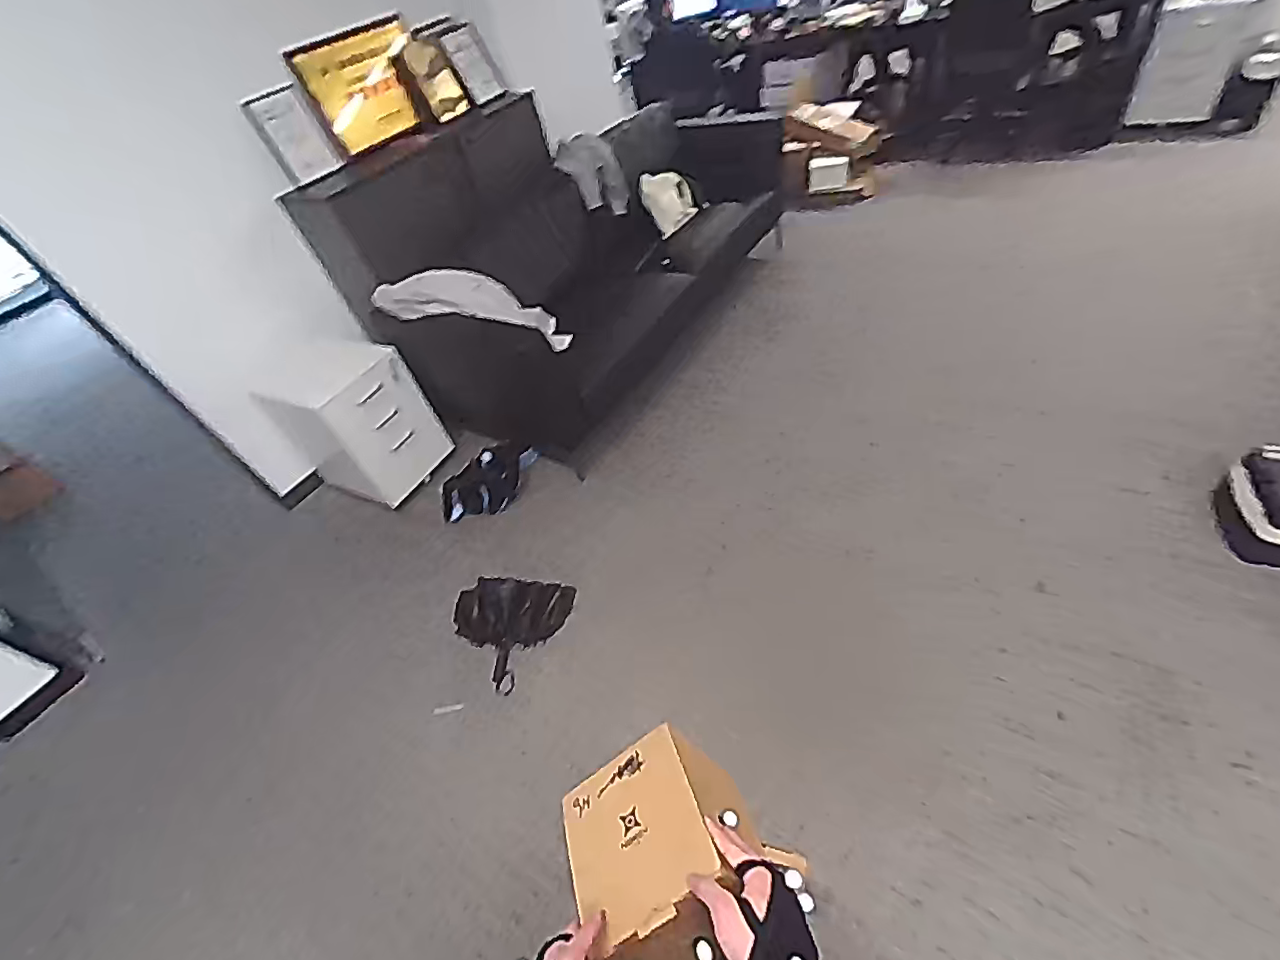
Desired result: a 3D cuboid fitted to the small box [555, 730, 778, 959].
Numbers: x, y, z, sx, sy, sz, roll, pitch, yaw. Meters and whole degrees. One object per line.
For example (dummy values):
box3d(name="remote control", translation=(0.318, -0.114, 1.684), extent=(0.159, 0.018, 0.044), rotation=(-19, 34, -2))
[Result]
box3d(name="small box", translation=(0.028, 0.436, 0.623), extent=(0.168, 0.176, 0.179), rotation=(-38, 31, 4))

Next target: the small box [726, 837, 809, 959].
box3d(name="small box", translation=(0.218, 0.799, 1.023), extent=(0.168, 0.176, 0.179), rotation=(8, 51, 23))
